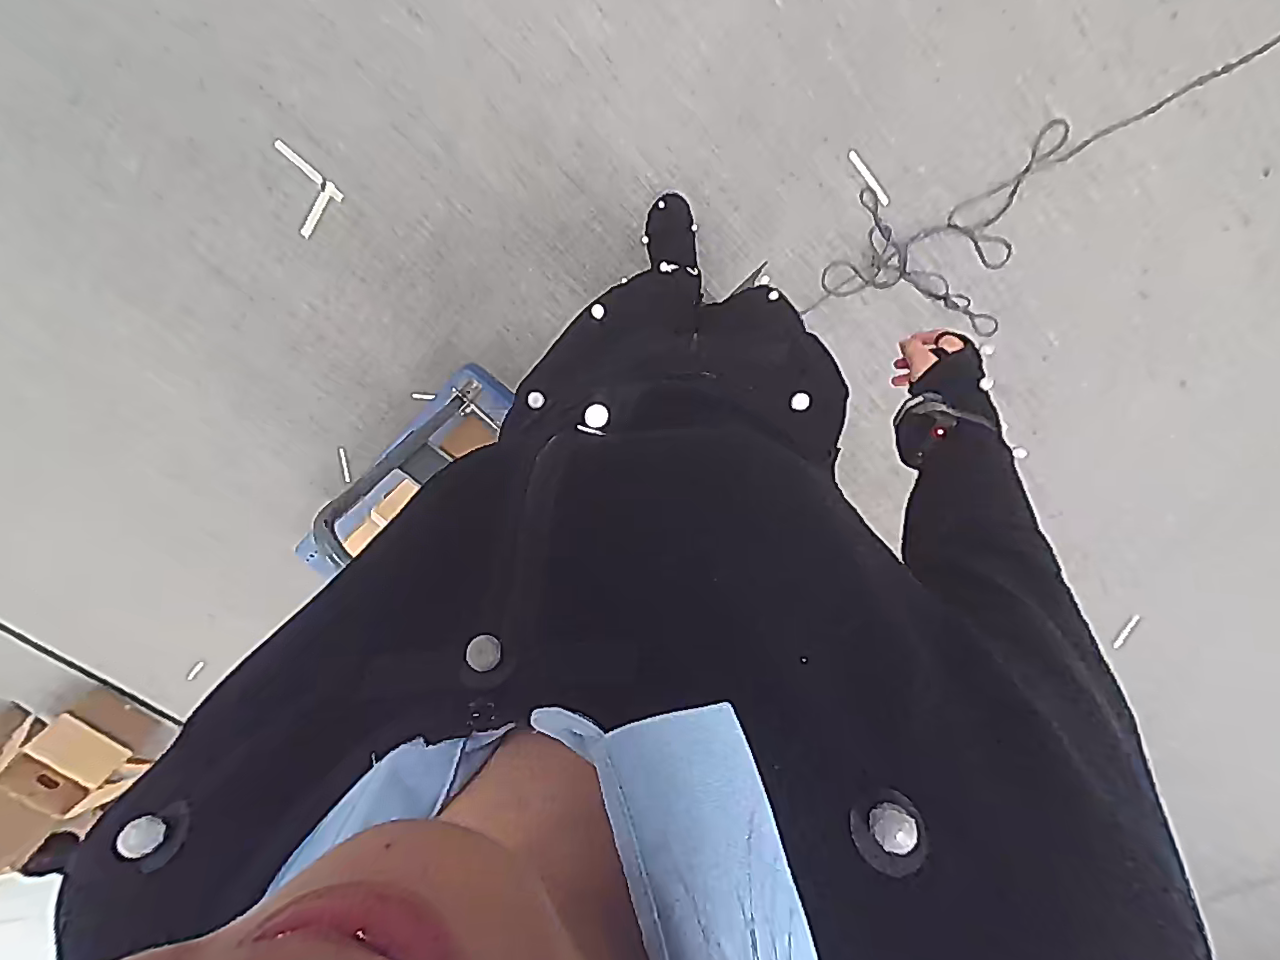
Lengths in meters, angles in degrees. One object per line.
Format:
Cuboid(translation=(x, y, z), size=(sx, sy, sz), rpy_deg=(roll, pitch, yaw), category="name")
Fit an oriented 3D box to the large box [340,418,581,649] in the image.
Cuboid(translation=(-0.412, 0.127, 1.334), size=(0.320, 0.320, 0.408), rpy_deg=(-38, 108, 22), category="large box")
